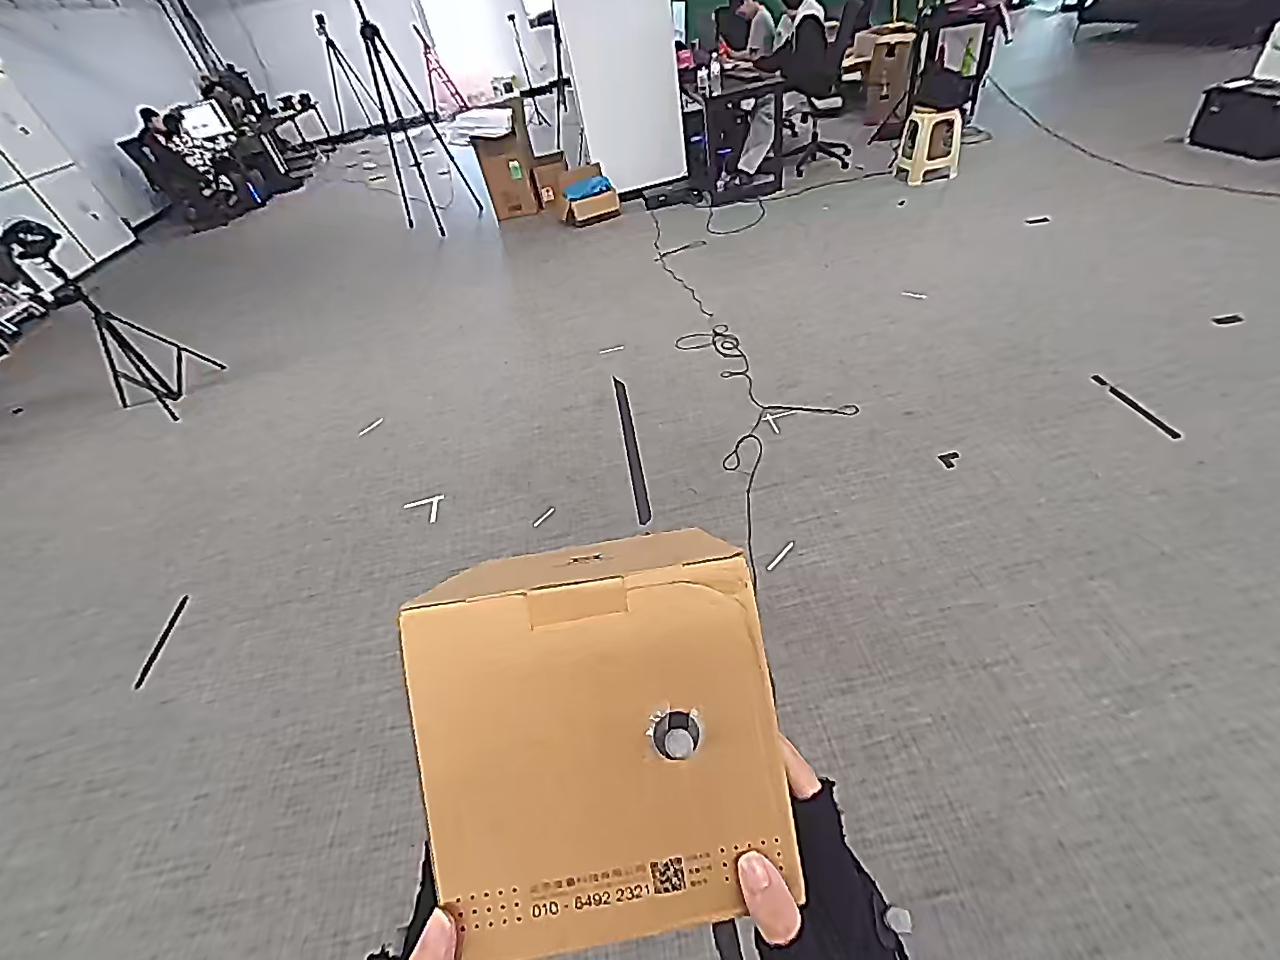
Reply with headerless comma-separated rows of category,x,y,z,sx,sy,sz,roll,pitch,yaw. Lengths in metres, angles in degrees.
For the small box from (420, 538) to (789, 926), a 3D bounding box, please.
small box,-0.016,0.140,0.347,0.168,0.176,0.179,-9,-2,-1
